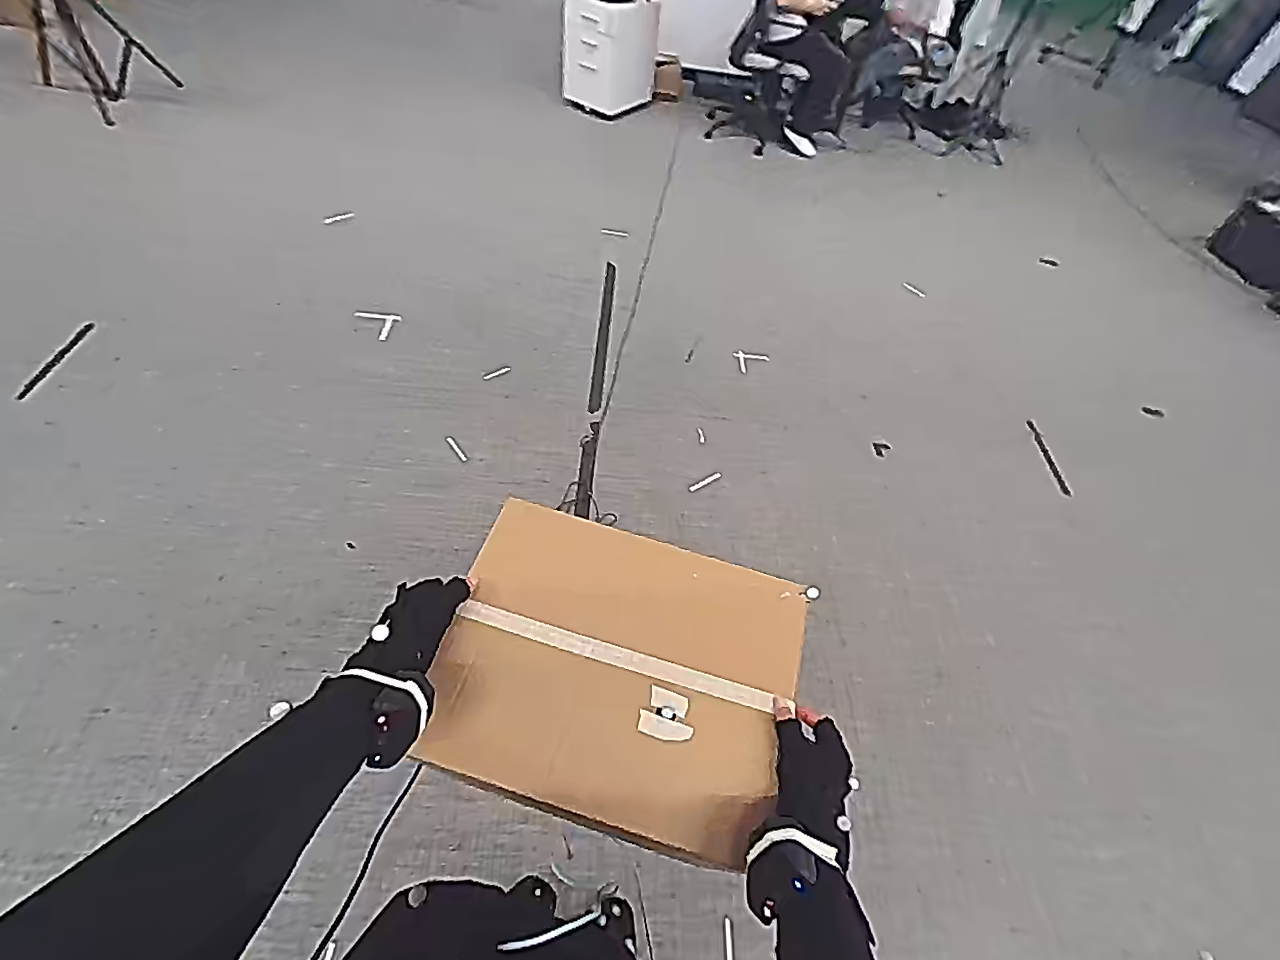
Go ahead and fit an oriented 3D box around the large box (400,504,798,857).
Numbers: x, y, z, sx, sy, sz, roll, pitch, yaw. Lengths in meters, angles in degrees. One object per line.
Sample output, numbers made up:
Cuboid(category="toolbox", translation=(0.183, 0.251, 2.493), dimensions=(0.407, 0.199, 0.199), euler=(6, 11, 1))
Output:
Cuboid(category="large box", translation=(-0.039, 0.283, 0.752), dimensions=(0.408, 0.320, 0.320), euler=(16, 57, 4))
